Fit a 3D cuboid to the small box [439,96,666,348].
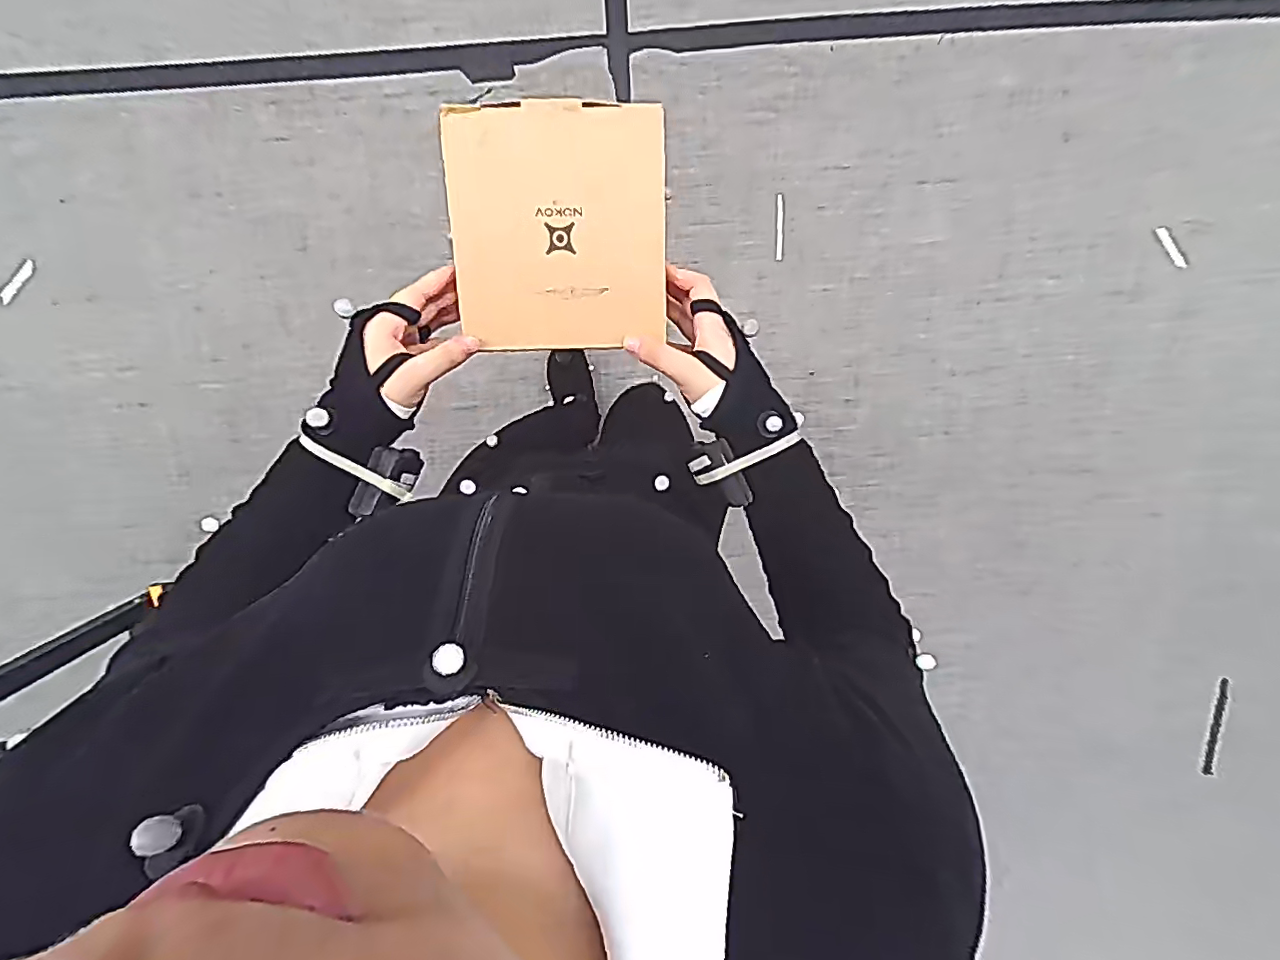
[{"bbox_3d":[-0.067,-0.211,0.486,0.168,0.176,0.179,-2,106,-3],"label":"small box"}]
